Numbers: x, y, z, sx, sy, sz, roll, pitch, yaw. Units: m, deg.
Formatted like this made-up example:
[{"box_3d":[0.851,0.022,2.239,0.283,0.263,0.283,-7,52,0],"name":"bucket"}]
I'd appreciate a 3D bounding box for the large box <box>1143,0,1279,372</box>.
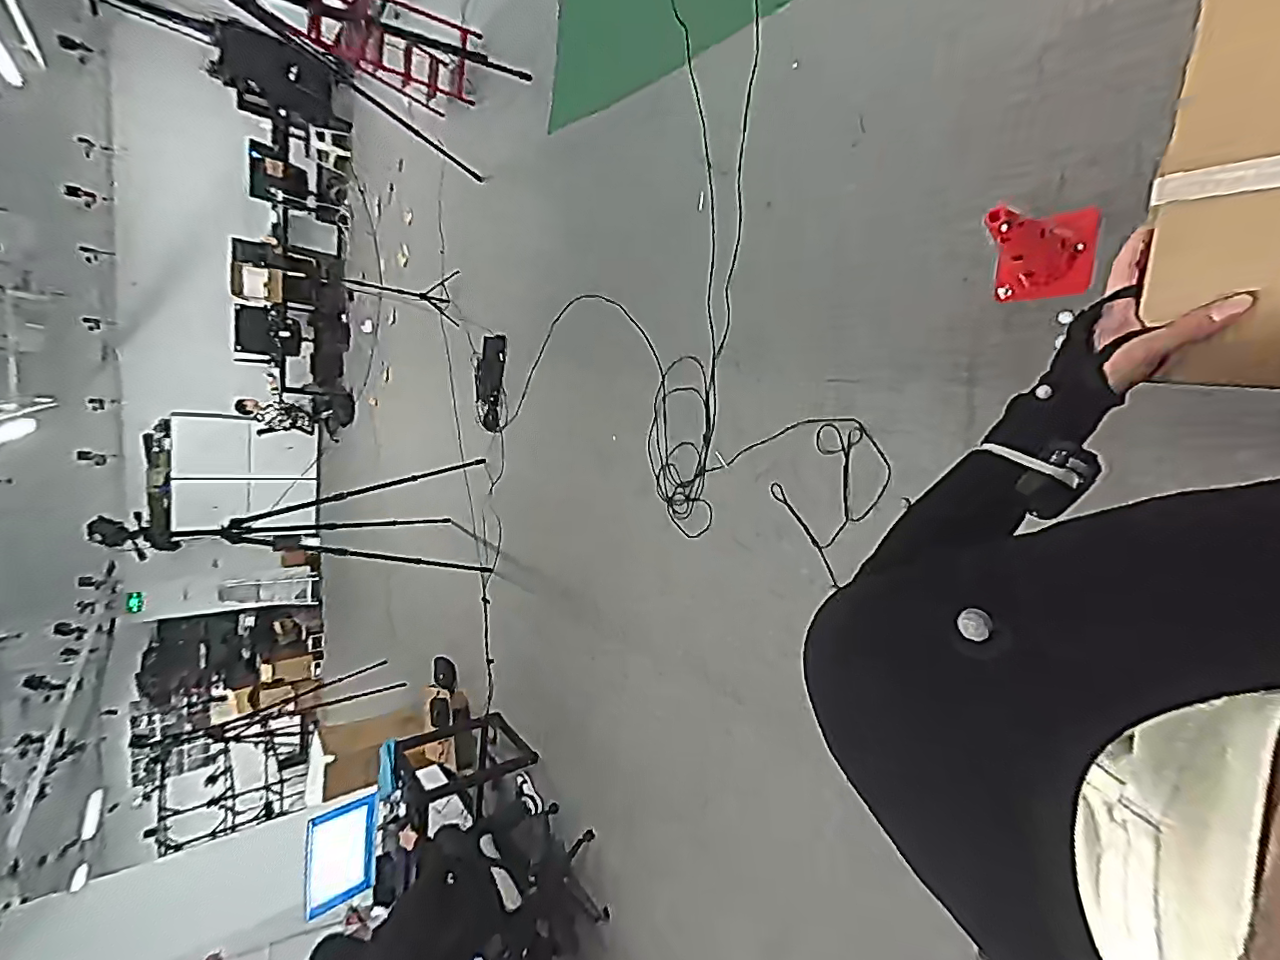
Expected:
[{"box_3d":[0.679,-0.244,0.386,0.408,0.320,0.320,16,114,49],"name":"large box"}]
